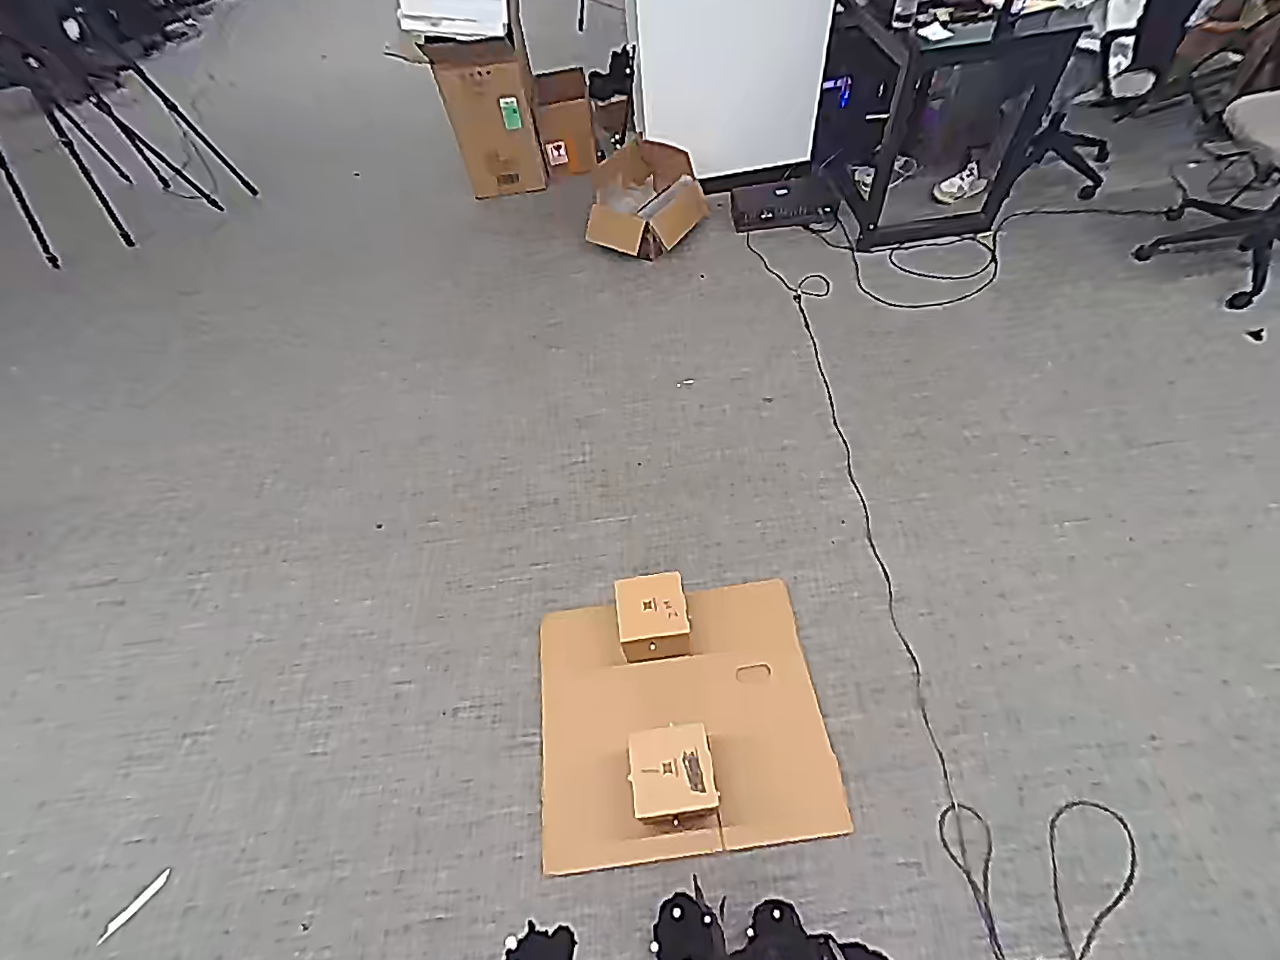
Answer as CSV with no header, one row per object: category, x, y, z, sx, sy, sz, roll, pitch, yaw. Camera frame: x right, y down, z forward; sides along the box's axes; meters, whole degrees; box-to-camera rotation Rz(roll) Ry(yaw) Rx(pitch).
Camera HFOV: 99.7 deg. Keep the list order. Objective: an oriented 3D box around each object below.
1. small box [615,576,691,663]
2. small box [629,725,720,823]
small box,0.036,0.372,1.427,0.179,0.176,0.168,-8,55,0
small box,0.076,0.665,1.219,0.179,0.176,0.168,-9,55,0
